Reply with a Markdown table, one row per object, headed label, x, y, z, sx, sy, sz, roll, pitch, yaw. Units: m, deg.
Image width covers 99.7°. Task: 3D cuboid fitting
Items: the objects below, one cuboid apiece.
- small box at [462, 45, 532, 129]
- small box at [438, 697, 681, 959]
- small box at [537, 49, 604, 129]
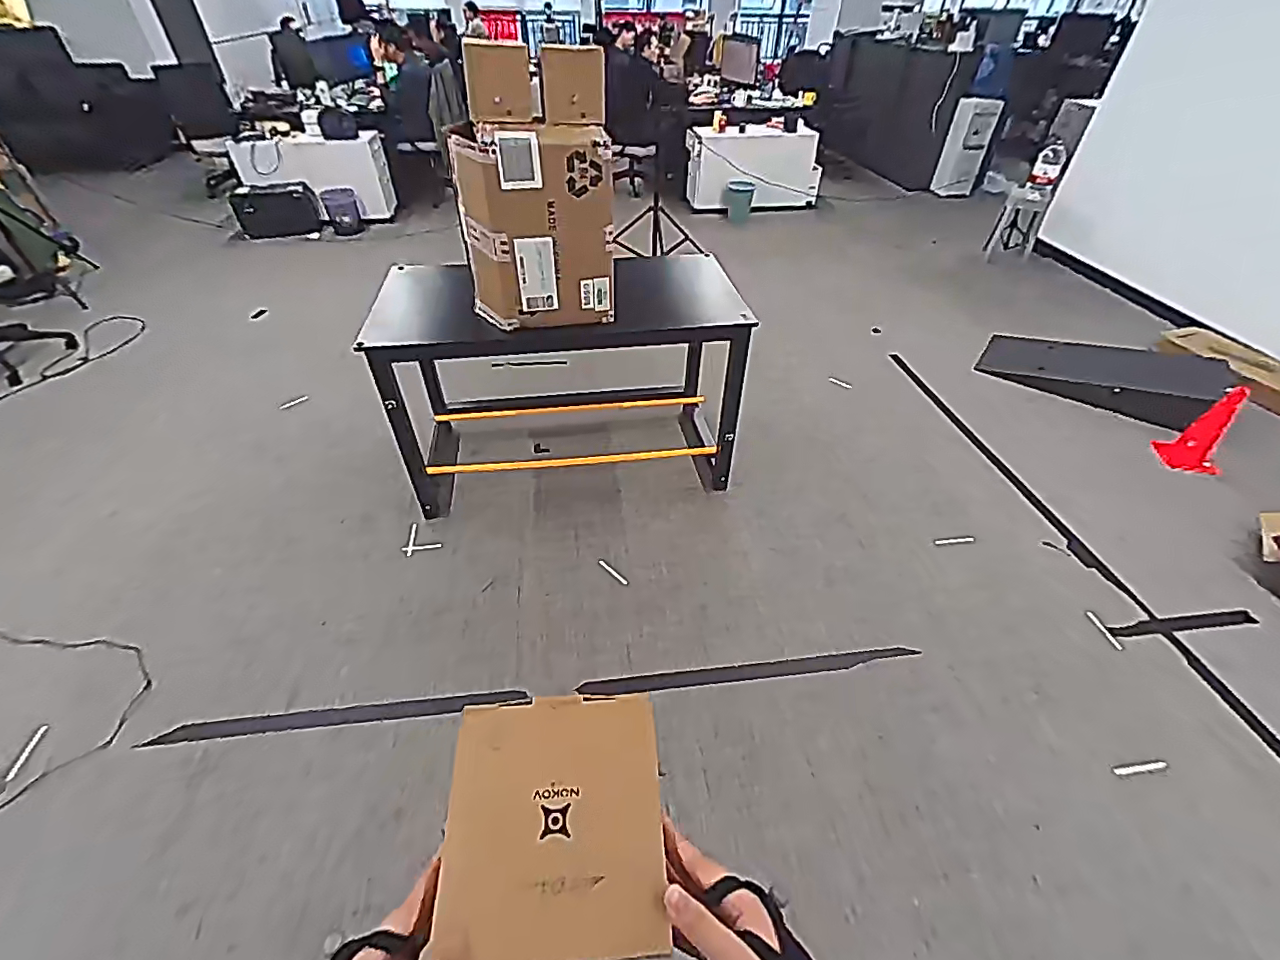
| label | x | y | z | sx | sy | sz | roll | pitch | yaw |
| --- | --- | --- | --- | --- | --- | --- | --- | --- | --- |
| small box | -0.391 | -1.075 | 1.479 | 0.168 | 0.176 | 0.179 | -7 | 41 | -13 |
| small box | -0.061 | 0.311 | 0.475 | 0.168 | 0.176 | 0.179 | -2 | 49 | -4 |
| small box | -0.196 | -1.096 | 1.513 | 0.168 | 0.176 | 0.179 | -7 | 41 | -10 |
